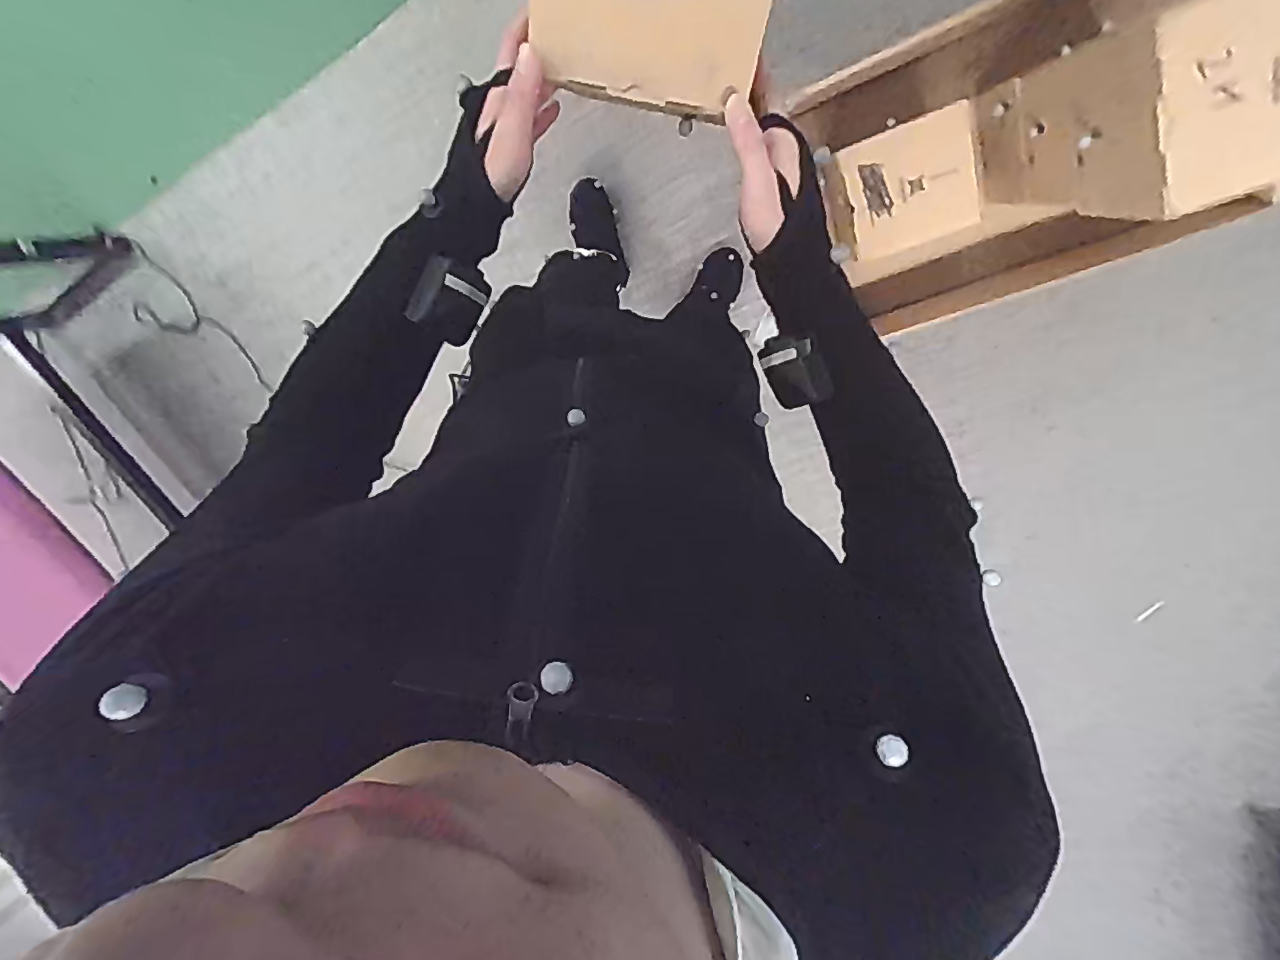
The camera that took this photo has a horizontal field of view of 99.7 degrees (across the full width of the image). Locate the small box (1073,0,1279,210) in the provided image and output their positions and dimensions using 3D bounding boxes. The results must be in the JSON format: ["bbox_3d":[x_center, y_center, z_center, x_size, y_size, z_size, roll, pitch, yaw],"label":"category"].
[{"bbox_3d":[0.552,-0.375,0.506,0.179,0.176,0.168,-16,113,21],"label":"small box"}]

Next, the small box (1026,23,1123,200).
[{"bbox_3d":[0.598,-0.456,0.643,0.179,0.176,0.168,-14,114,20],"label":"small box"}]

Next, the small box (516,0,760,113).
[{"bbox_3d":[0.013,-0.398,0.413,0.168,0.176,0.179,12,123,1],"label":"small box"}]

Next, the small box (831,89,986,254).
[{"bbox_3d":[0.410,-0.472,0.852,0.179,0.176,0.168,-15,114,16],"label":"small box"}]
